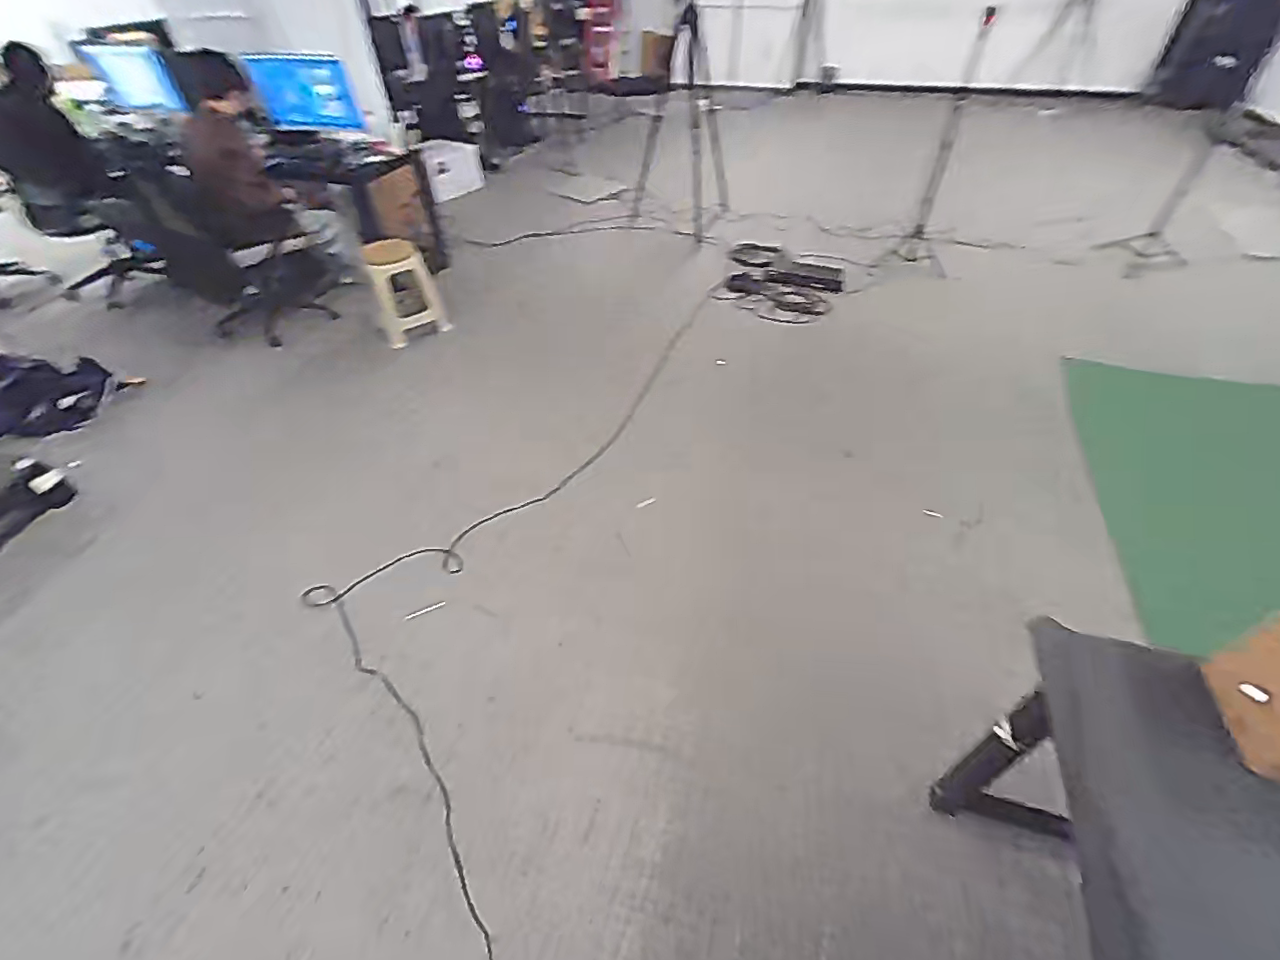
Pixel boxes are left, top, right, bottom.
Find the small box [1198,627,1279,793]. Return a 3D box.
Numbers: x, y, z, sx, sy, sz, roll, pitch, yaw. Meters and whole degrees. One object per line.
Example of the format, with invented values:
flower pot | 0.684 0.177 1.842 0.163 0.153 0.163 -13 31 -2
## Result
small box | 0.950 0.336 0.754 0.179 0.176 0.168 11 46 11
